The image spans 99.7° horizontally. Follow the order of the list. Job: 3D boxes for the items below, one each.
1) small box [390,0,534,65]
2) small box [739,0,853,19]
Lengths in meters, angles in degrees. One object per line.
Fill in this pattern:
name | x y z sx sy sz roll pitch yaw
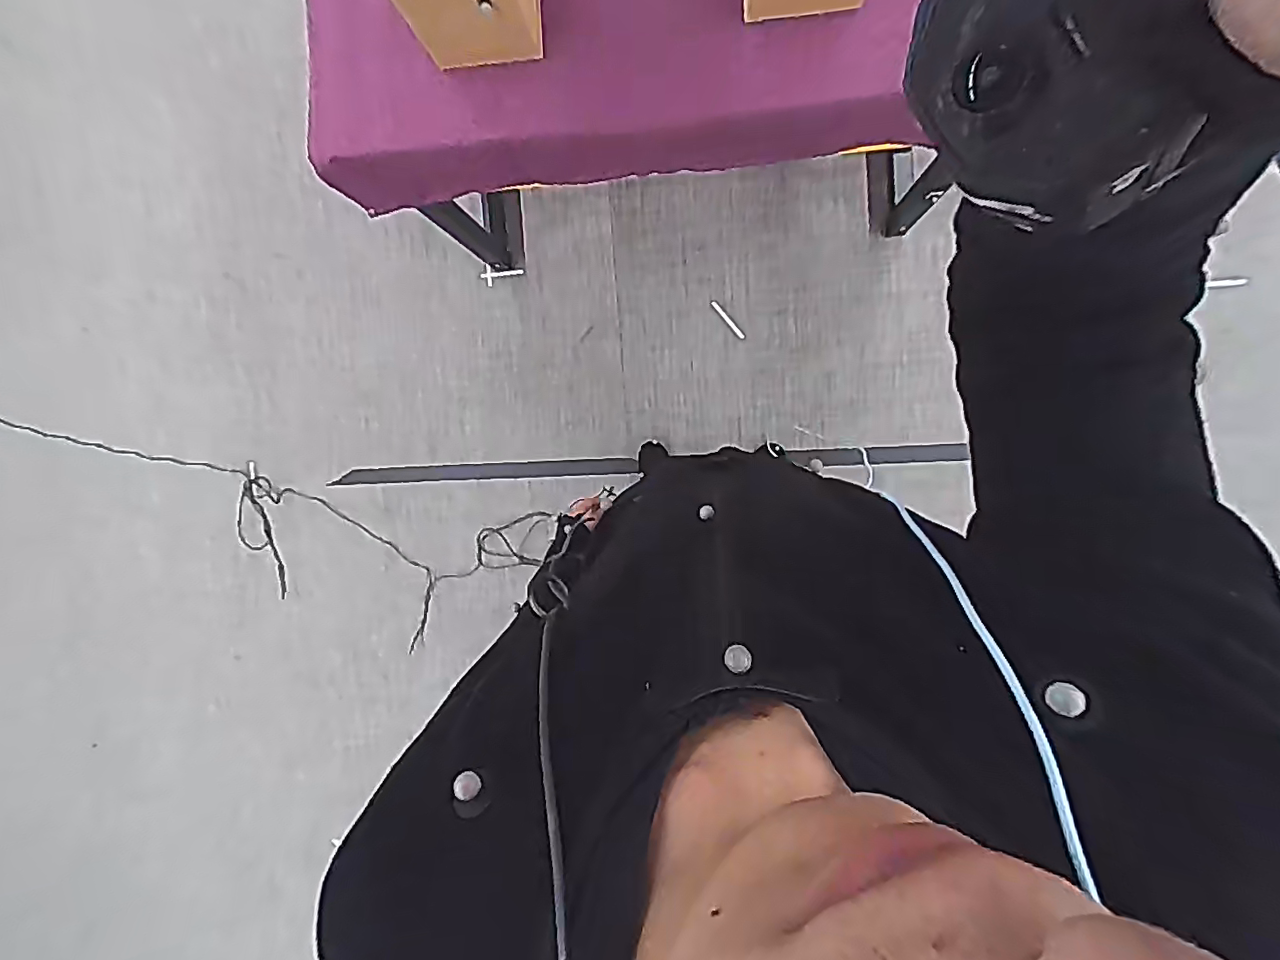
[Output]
small box | -0.258 -0.752 0.793 0.179 0.176 0.168 -1 94 6
small box | 0.226 -0.781 0.739 0.179 0.176 0.168 -2 94 6
